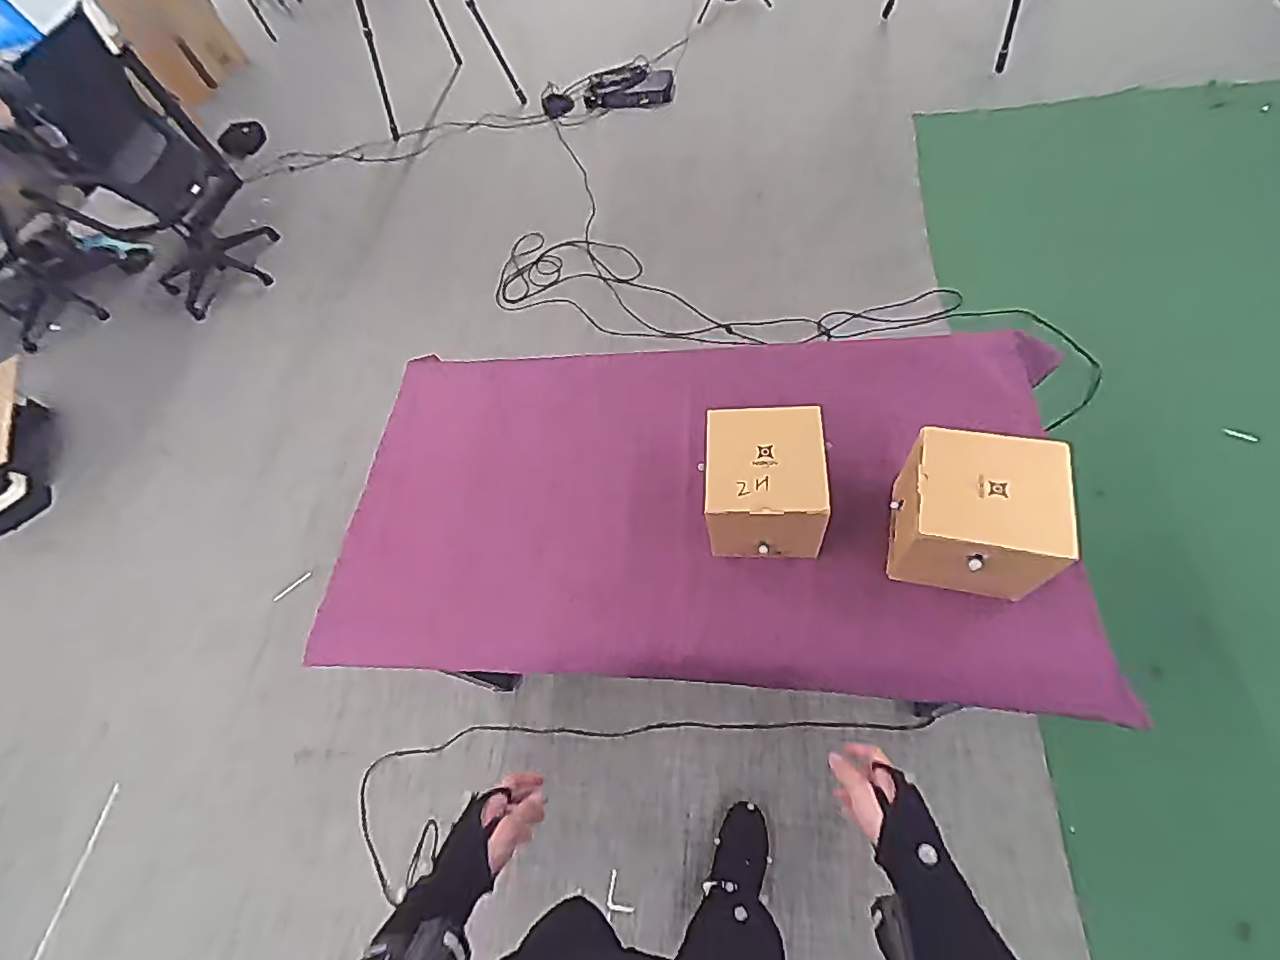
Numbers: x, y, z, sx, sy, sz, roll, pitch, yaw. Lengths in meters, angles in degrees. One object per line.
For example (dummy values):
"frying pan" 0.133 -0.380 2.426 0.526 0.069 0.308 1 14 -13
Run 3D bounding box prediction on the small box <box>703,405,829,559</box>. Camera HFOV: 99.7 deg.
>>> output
"small box" 0.187 0.006 0.823 0.168 0.176 0.179 -1 62 12

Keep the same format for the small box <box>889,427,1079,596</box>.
"small box" 0.459 0.049 0.744 0.179 0.176 0.168 9 64 18
